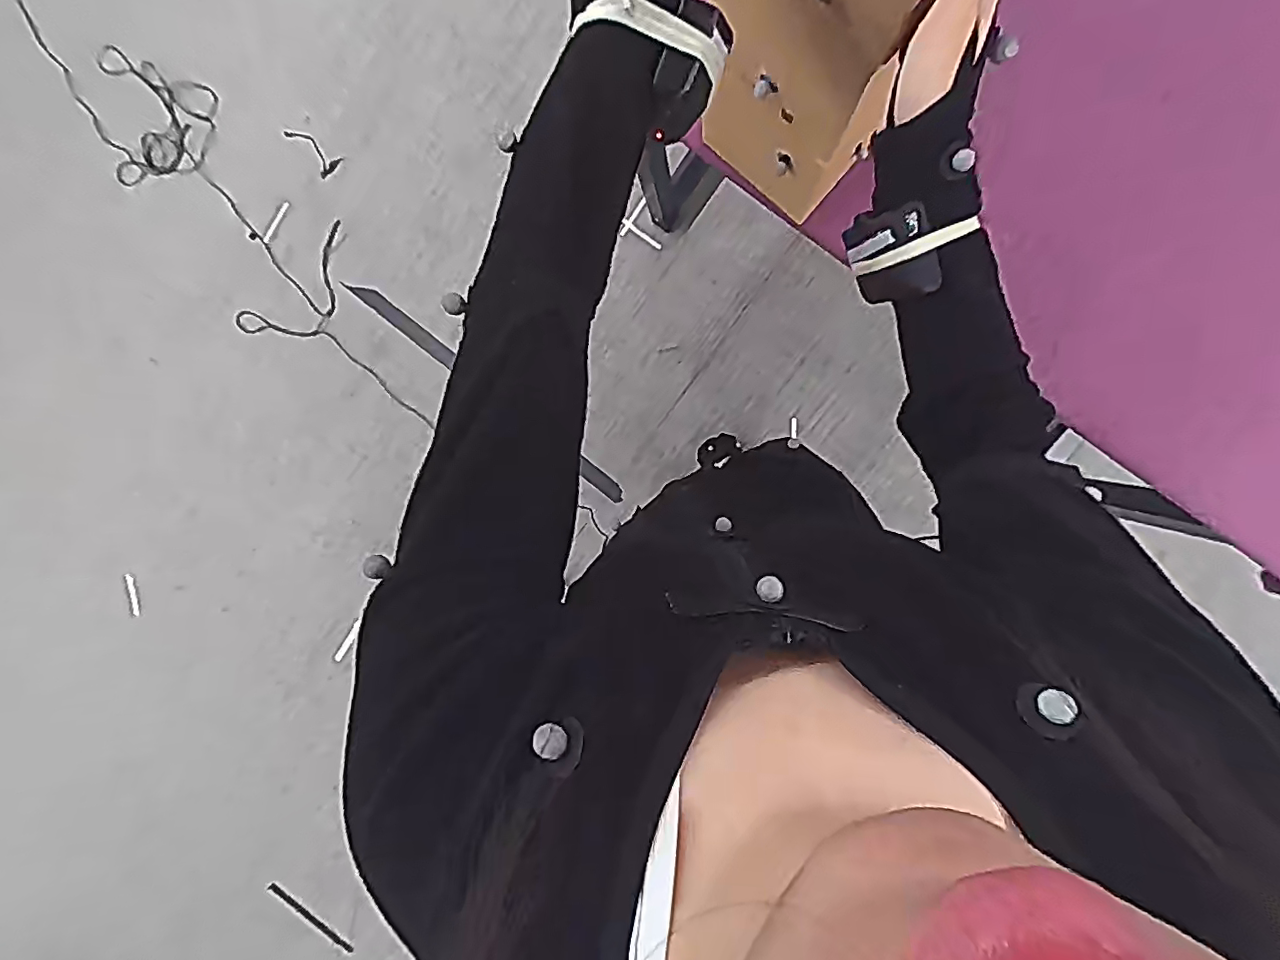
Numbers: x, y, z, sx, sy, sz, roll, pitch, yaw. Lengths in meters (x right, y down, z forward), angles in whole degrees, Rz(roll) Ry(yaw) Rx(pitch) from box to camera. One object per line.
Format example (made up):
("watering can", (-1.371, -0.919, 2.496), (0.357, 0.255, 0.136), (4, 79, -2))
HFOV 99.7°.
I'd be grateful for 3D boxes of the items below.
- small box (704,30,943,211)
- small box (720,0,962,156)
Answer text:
("small box", (0.193, -0.444, 0.622), (0.179, 0.176, 0.168), (42, 100, 2))
("small box", (0.179, -0.430, 0.459), (0.168, 0.176, 0.179), (41, 101, 1))
